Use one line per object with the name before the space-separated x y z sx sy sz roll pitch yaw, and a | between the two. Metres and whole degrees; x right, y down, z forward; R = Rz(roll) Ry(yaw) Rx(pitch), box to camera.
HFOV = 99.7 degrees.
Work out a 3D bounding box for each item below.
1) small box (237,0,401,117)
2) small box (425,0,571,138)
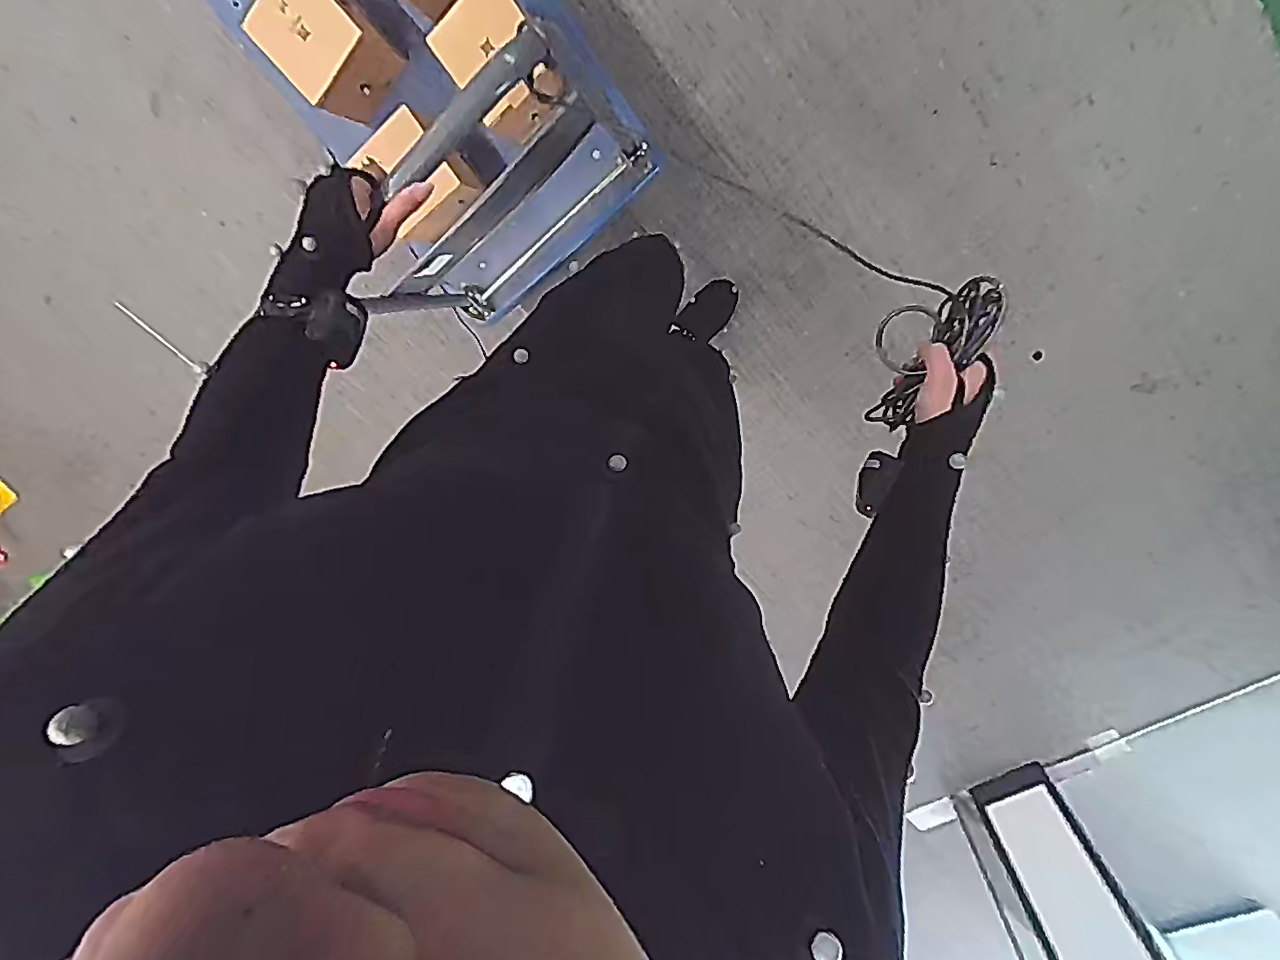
small box | -0.605 -0.841 1.043 0.168 0.176 0.179 -39 102 20
small box | -0.257 -0.787 1.018 0.168 0.176 0.179 -34 105 19
